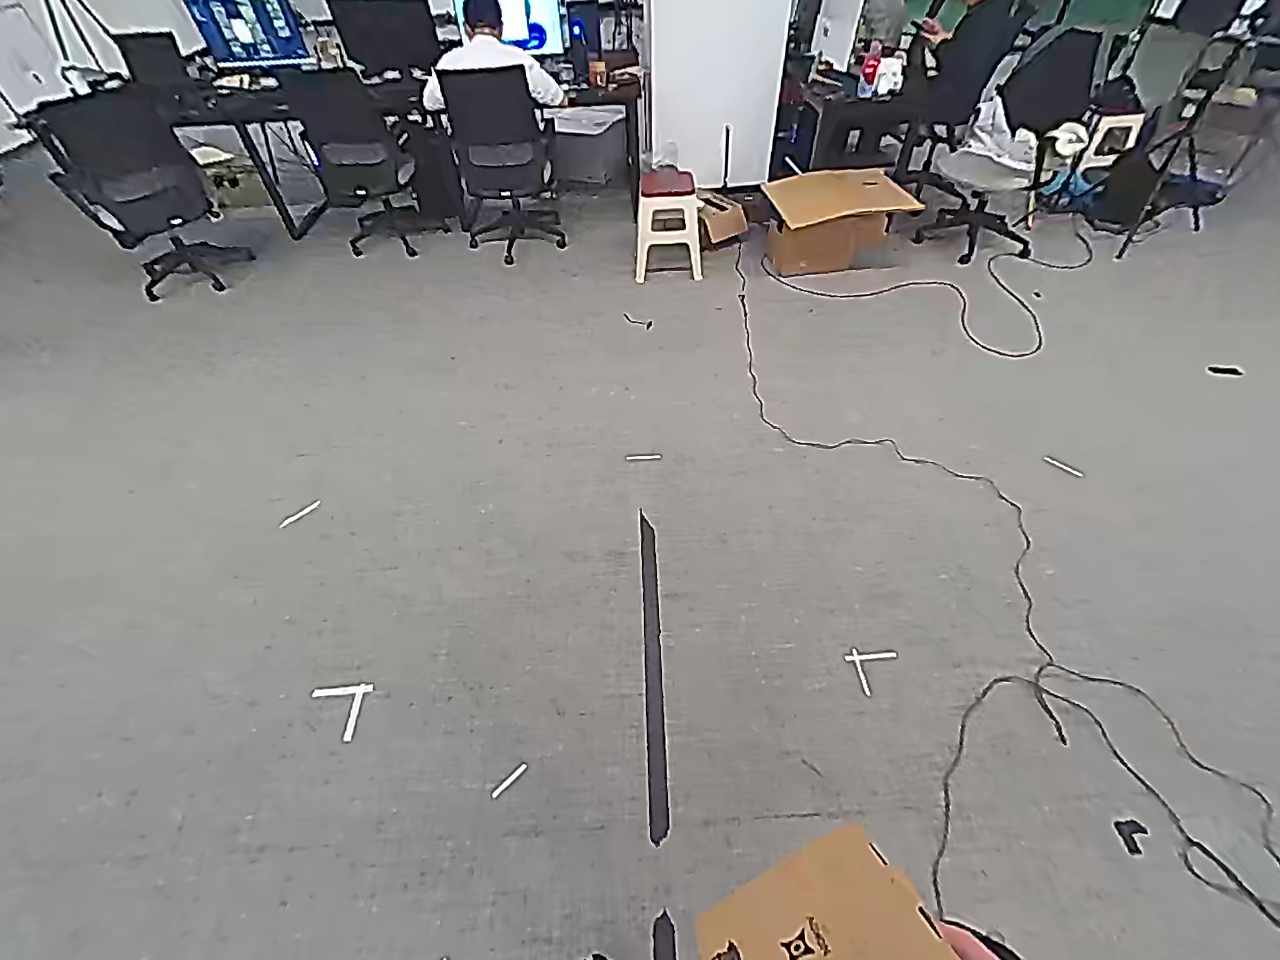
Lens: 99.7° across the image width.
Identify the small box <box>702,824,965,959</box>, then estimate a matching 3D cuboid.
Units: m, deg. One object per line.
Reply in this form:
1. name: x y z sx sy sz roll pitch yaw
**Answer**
1. small box: 0.176 0.438 0.432 0.179 0.168 0.176 -28 90 -4
